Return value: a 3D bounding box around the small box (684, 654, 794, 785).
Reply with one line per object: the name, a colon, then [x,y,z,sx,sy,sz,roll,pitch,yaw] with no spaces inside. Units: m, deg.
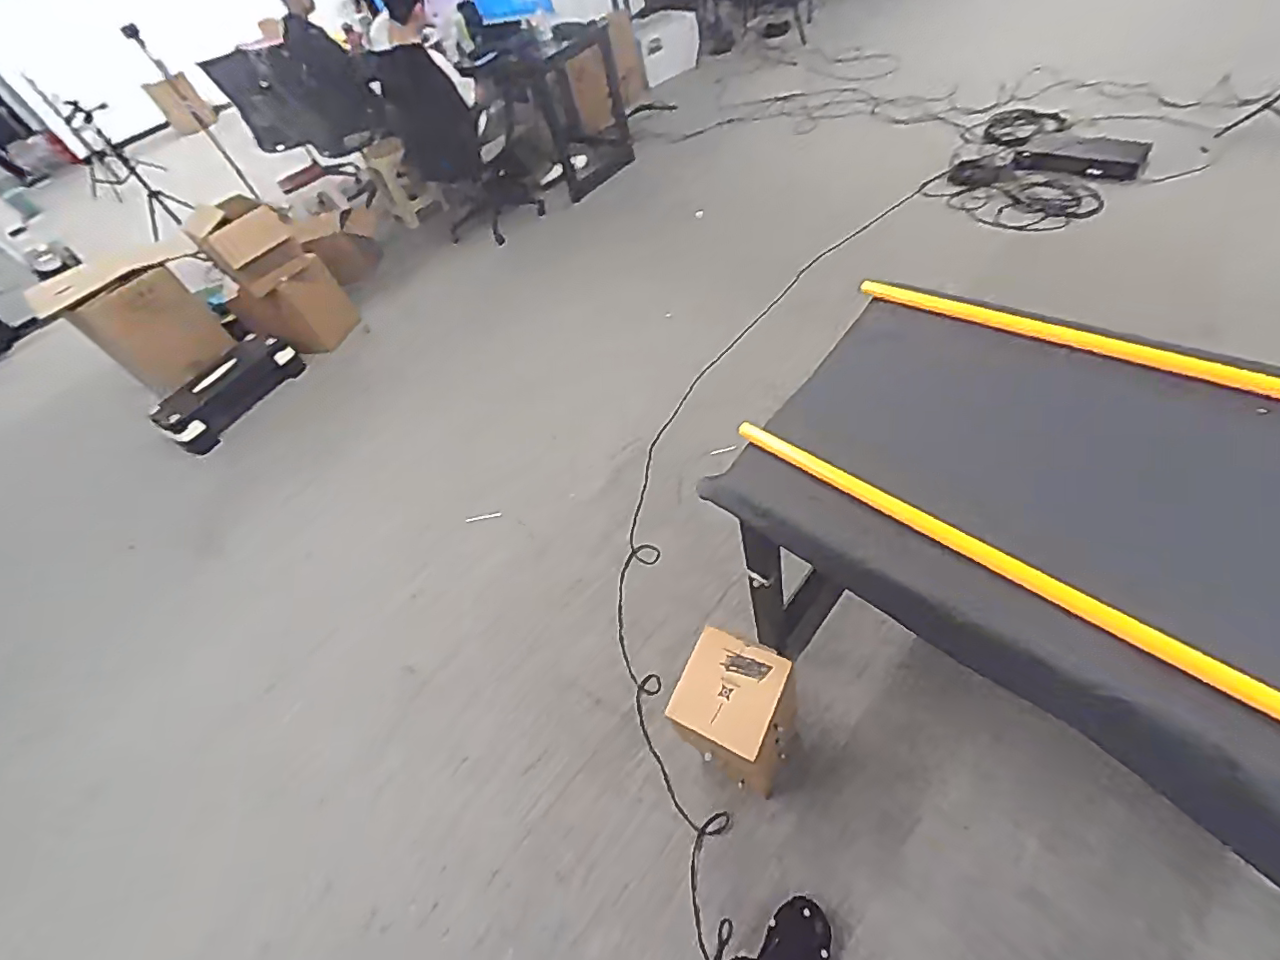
small box: [0.212,0.494,1.112,0.168,0.176,0.179,13,56,28]
